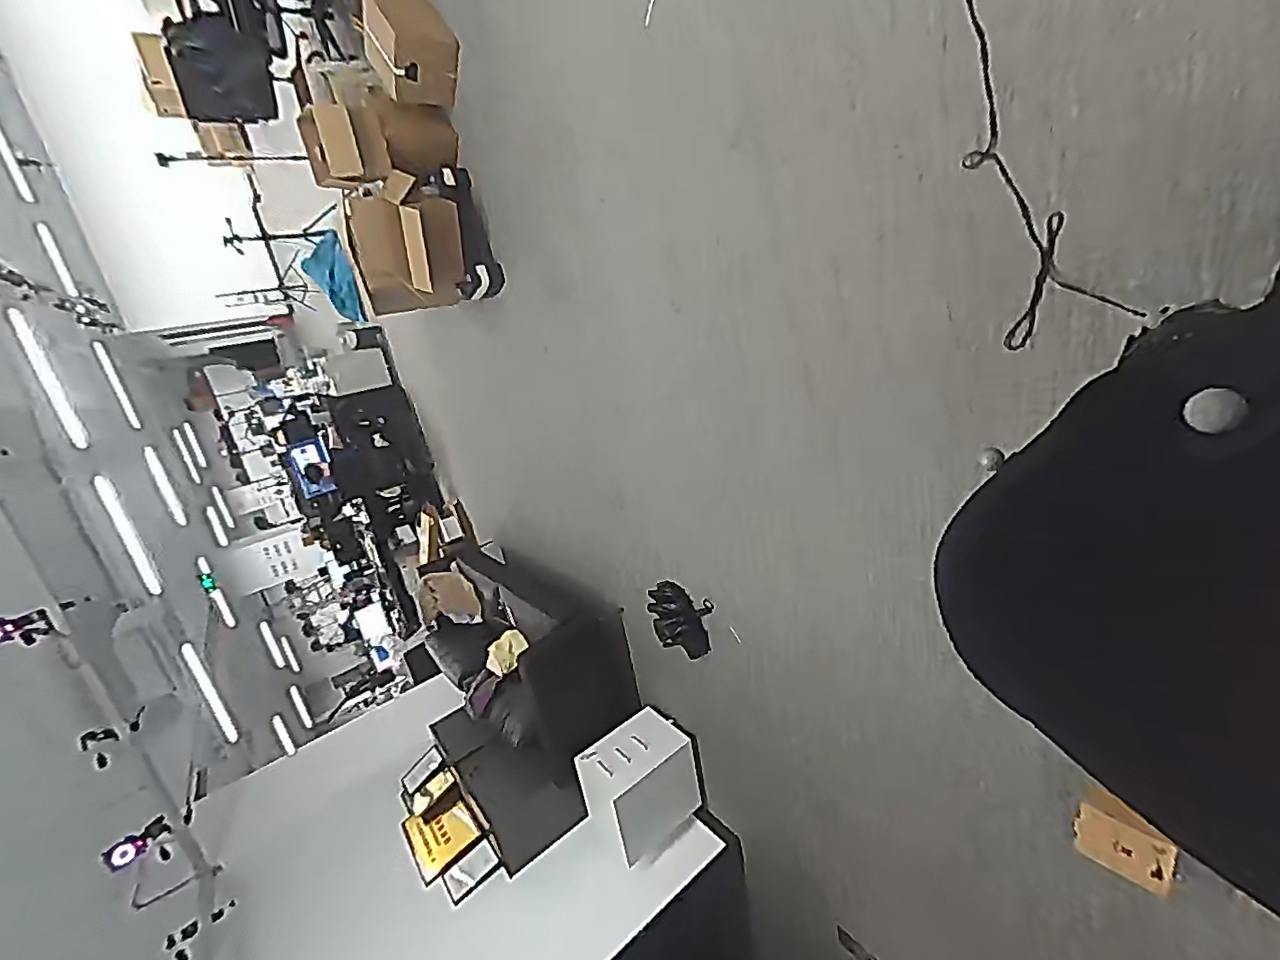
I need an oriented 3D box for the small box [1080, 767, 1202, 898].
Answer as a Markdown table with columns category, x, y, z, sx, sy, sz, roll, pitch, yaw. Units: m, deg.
| category | x | y | z | sx | sy | sz | roll | pitch | yaw |
| --- | --- | --- | --- | --- | --- | --- | --- | --- | --- |
| small box | 1.211 | 0.838 | 1.311 | 0.179 | 0.176 | 0.168 | 16 | 122 | 51 |
